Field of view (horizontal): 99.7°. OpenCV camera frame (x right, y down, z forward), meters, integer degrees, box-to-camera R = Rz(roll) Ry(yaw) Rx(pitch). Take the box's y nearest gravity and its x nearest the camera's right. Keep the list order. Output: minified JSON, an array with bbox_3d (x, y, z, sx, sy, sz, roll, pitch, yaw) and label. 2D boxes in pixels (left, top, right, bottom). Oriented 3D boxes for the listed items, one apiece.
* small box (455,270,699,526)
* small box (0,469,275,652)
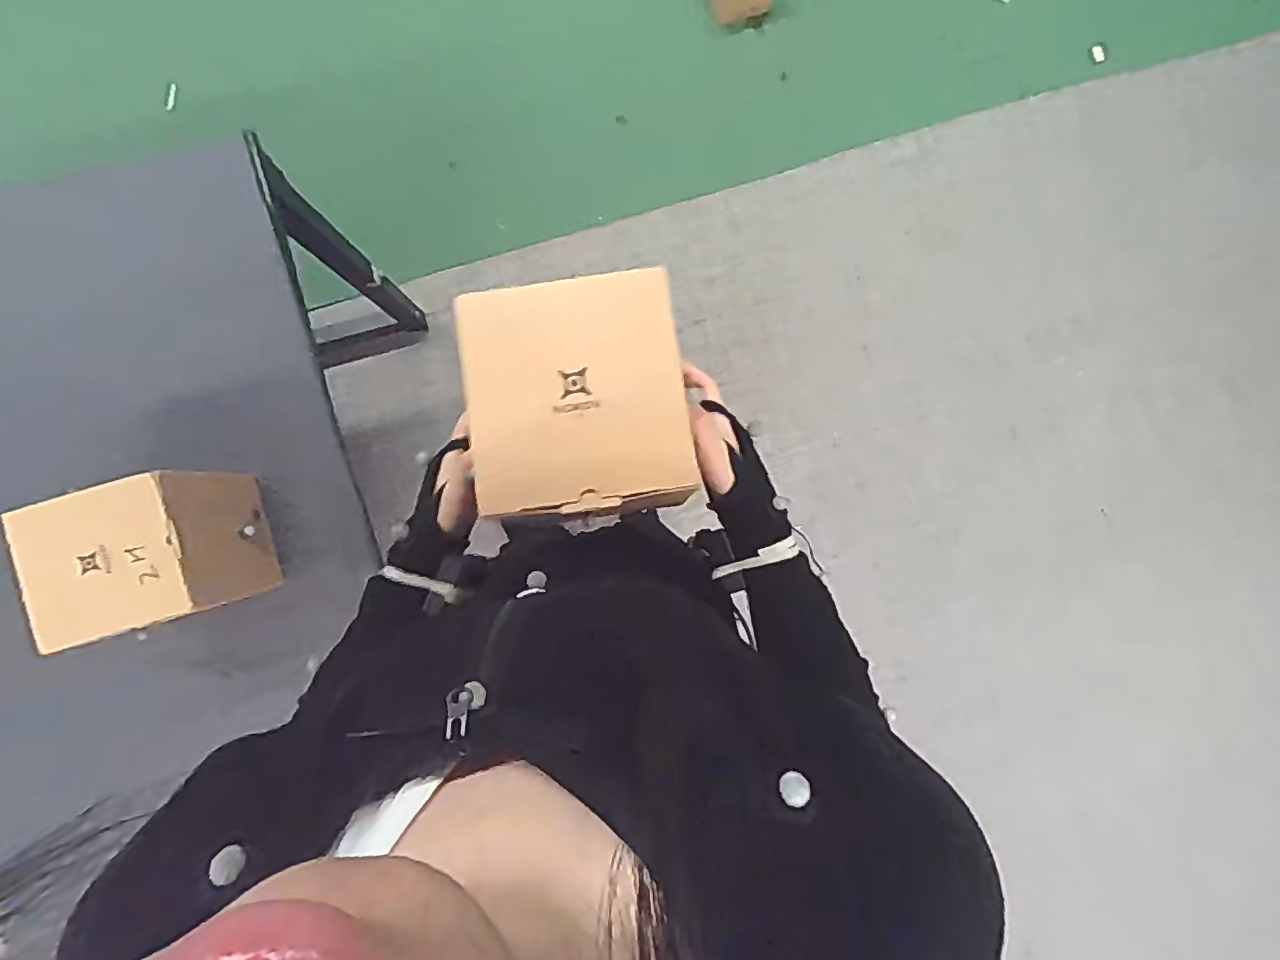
[{"bbox_3d":[-0.051,-0.057,0.485,0.168,0.176,0.179,-10,85,-1],"label":"small box"},{"bbox_3d":[-0.610,0.091,0.676,0.179,0.176,0.168,-17,90,-3],"label":"small box"}]
